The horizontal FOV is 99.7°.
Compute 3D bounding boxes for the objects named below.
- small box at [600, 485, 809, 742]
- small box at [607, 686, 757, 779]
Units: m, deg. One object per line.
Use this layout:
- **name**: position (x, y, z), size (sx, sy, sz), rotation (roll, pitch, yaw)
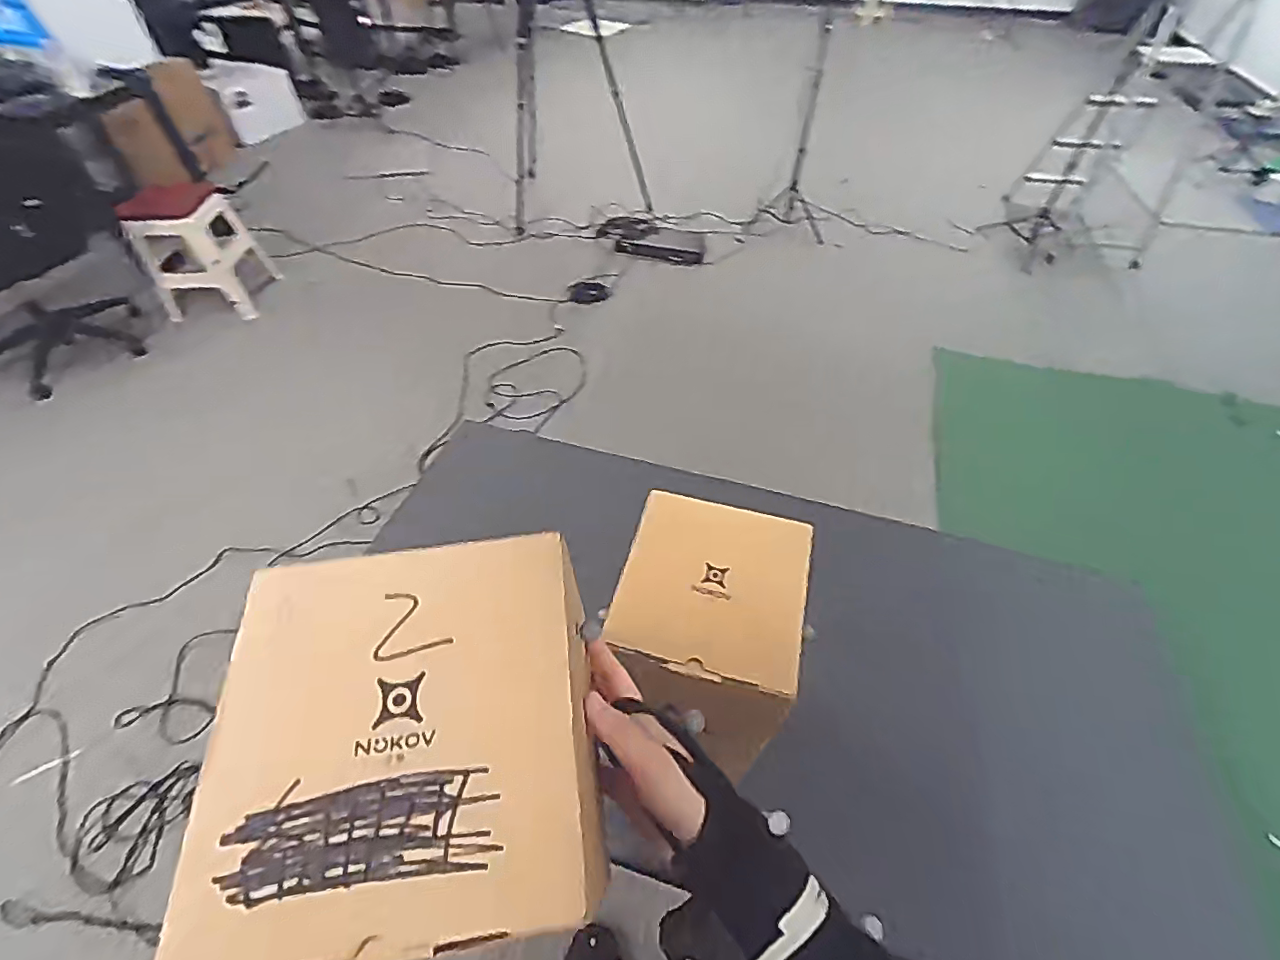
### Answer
- **small box**: position (0.063, 0.136, 0.550), size (0.168, 0.176, 0.179), rotation (12, 51, 9)
- **small box**: position (0.062, 0.241, 0.674), size (0.168, 0.176, 0.179), rotation (12, 50, 10)
